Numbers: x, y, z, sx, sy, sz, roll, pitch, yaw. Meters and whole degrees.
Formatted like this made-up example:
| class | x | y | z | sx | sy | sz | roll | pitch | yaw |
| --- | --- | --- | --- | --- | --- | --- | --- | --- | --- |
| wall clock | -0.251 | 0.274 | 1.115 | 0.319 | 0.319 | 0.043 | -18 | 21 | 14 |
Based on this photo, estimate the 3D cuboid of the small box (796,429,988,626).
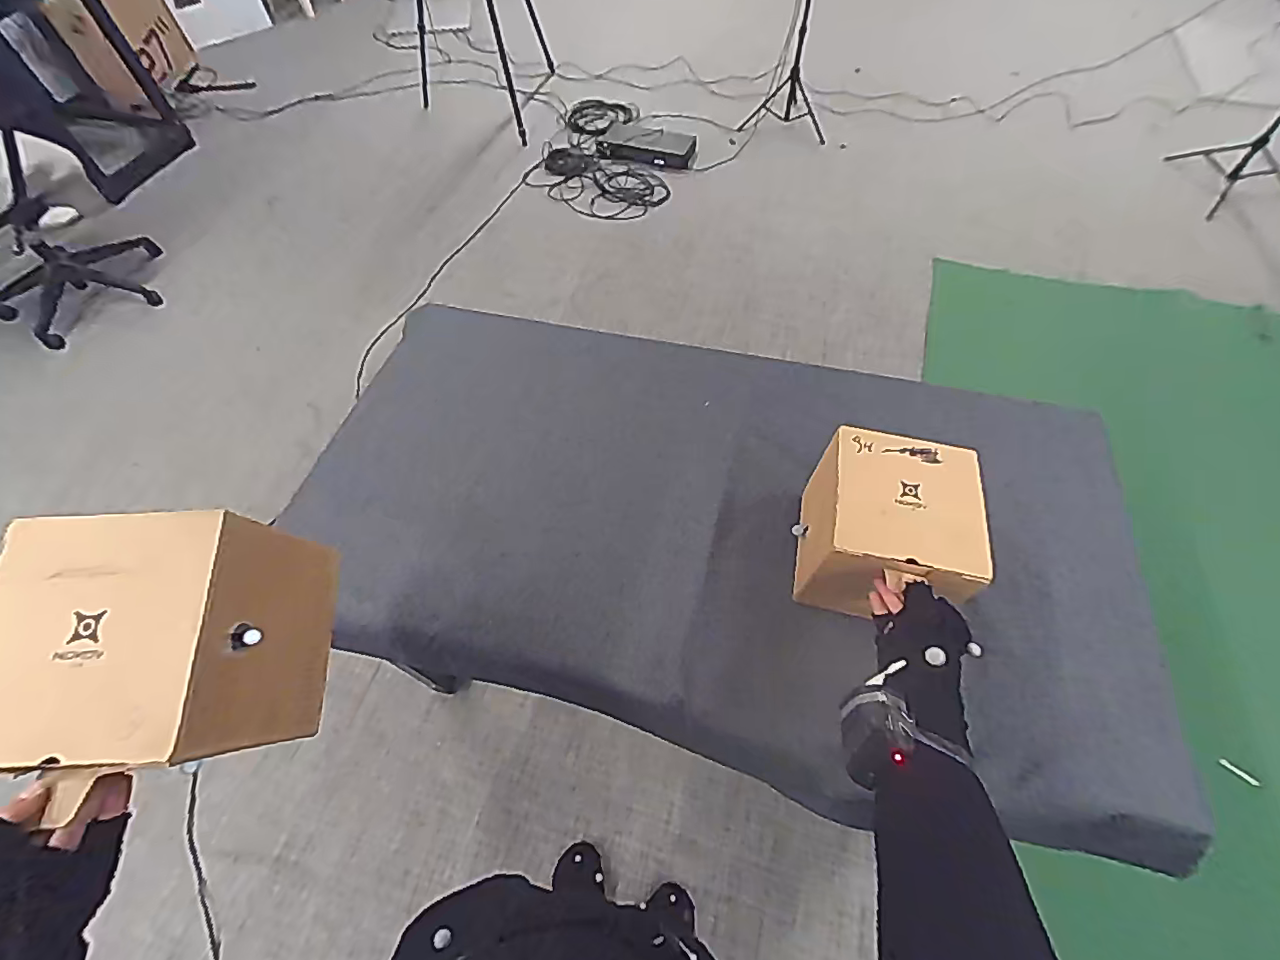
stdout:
| class | x | y | z | sx | sy | sz | roll | pitch | yaw |
| --- | --- | --- | --- | --- | --- | --- | --- | --- | --- |
| small box | 0.303 | 0.066 | 0.682 | 0.168 | 0.176 | 0.179 | 12 | 59 | 6 |

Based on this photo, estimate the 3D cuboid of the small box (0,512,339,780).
| class | x | y | z | sx | sy | sz | roll | pitch | yaw |
| --- | --- | --- | --- | --- | --- | --- | --- | --- | --- |
| small box | -0.381 | 0.135 | 0.451 | 0.168 | 0.176 | 0.179 | -3 | 70 | 0 |
